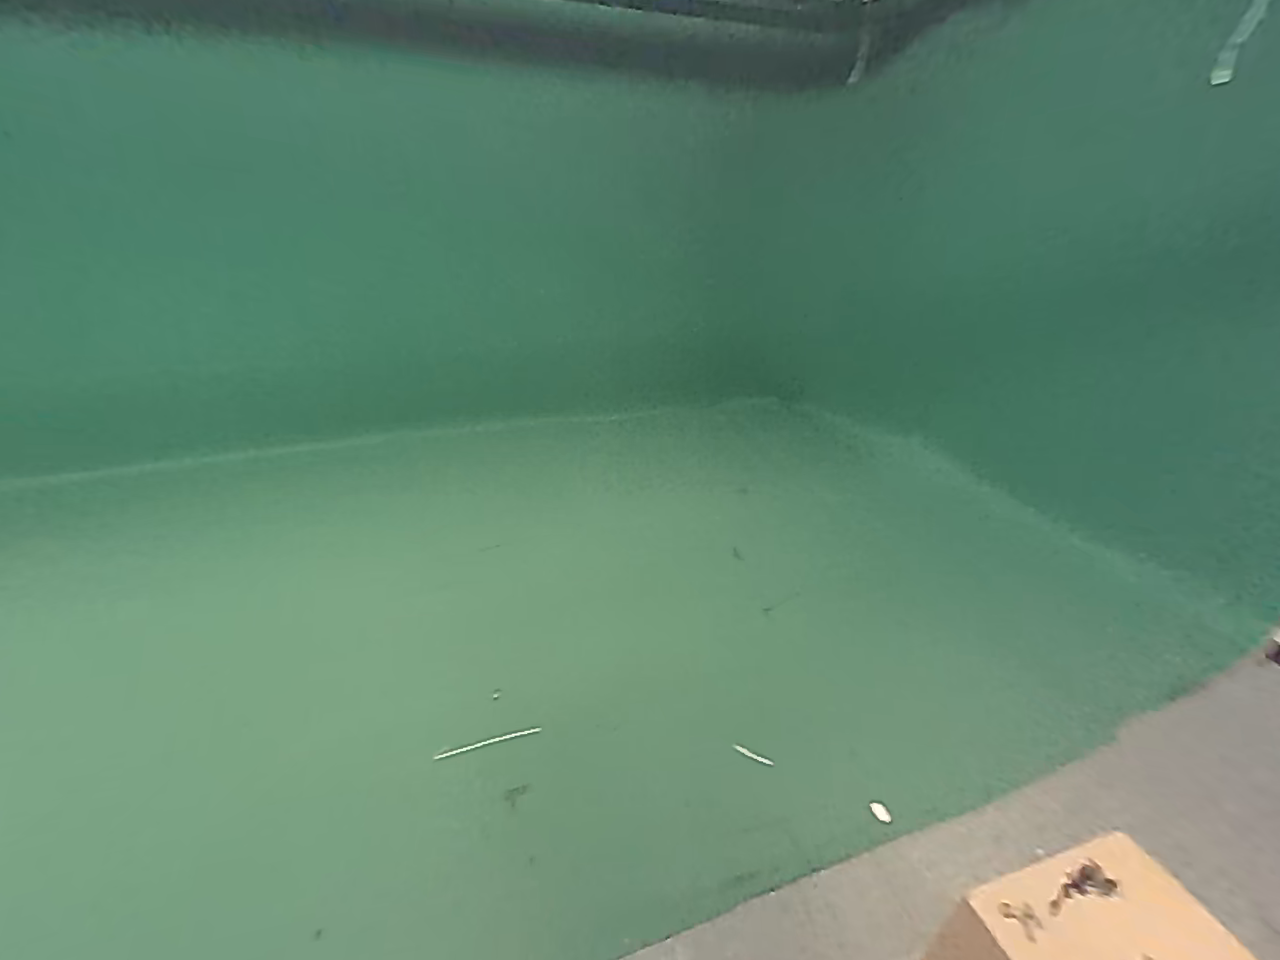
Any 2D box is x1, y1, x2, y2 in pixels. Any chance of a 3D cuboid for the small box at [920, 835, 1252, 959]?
[{"bbox_3d":[0.341,0.411,0.394,0.168,0.176,0.179,-7,32,-14],"label":"small box"}]
